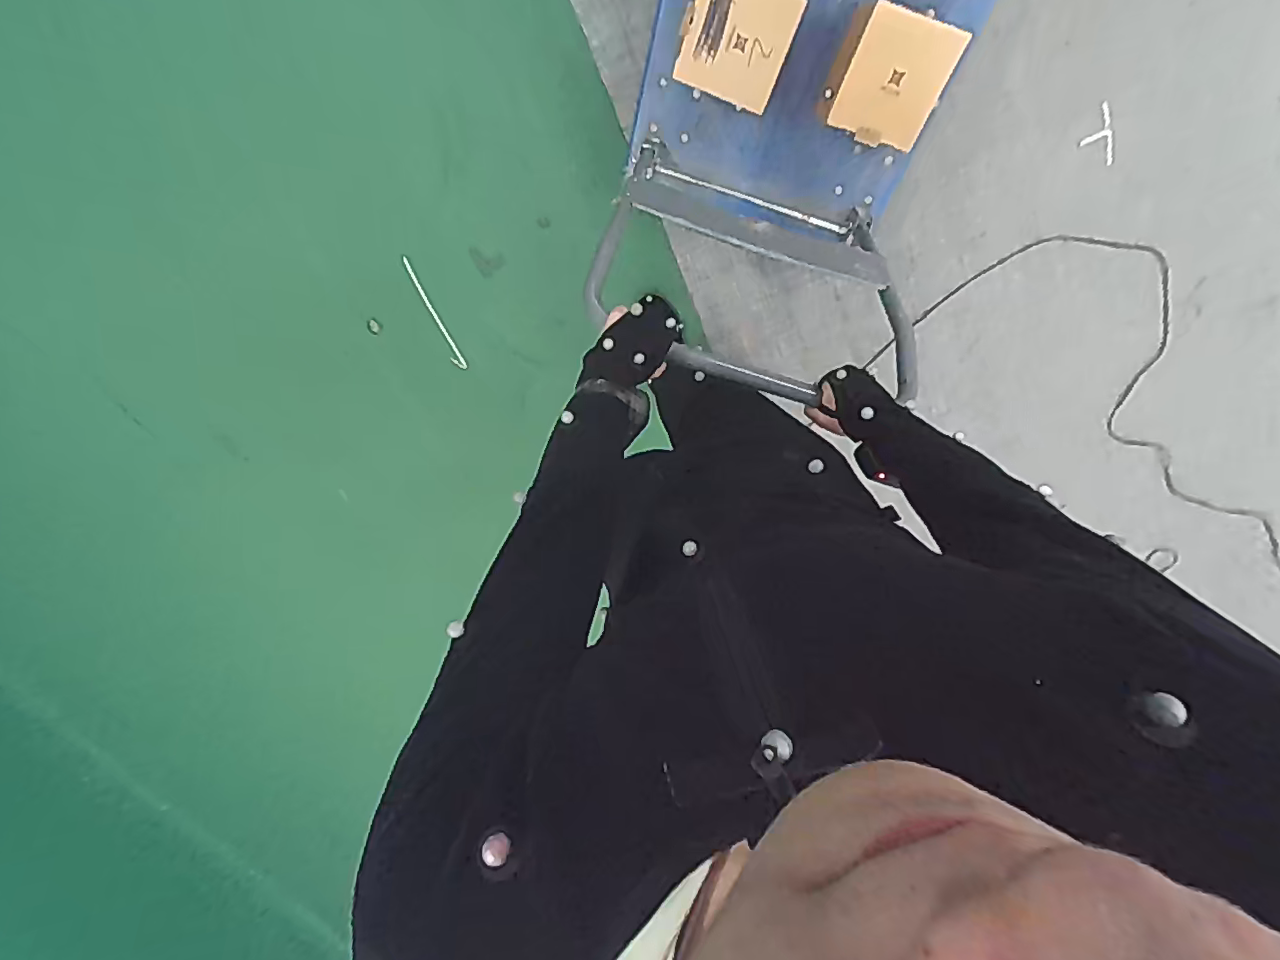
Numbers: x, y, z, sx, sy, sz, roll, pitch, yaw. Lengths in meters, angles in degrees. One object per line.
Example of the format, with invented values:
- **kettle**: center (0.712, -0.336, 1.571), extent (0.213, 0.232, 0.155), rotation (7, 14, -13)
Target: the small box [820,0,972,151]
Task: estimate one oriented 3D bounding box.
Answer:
- **small box**: center (0.441, -0.729, 0.971), extent (0.168, 0.176, 0.179), rotation (17, 132, -5)
